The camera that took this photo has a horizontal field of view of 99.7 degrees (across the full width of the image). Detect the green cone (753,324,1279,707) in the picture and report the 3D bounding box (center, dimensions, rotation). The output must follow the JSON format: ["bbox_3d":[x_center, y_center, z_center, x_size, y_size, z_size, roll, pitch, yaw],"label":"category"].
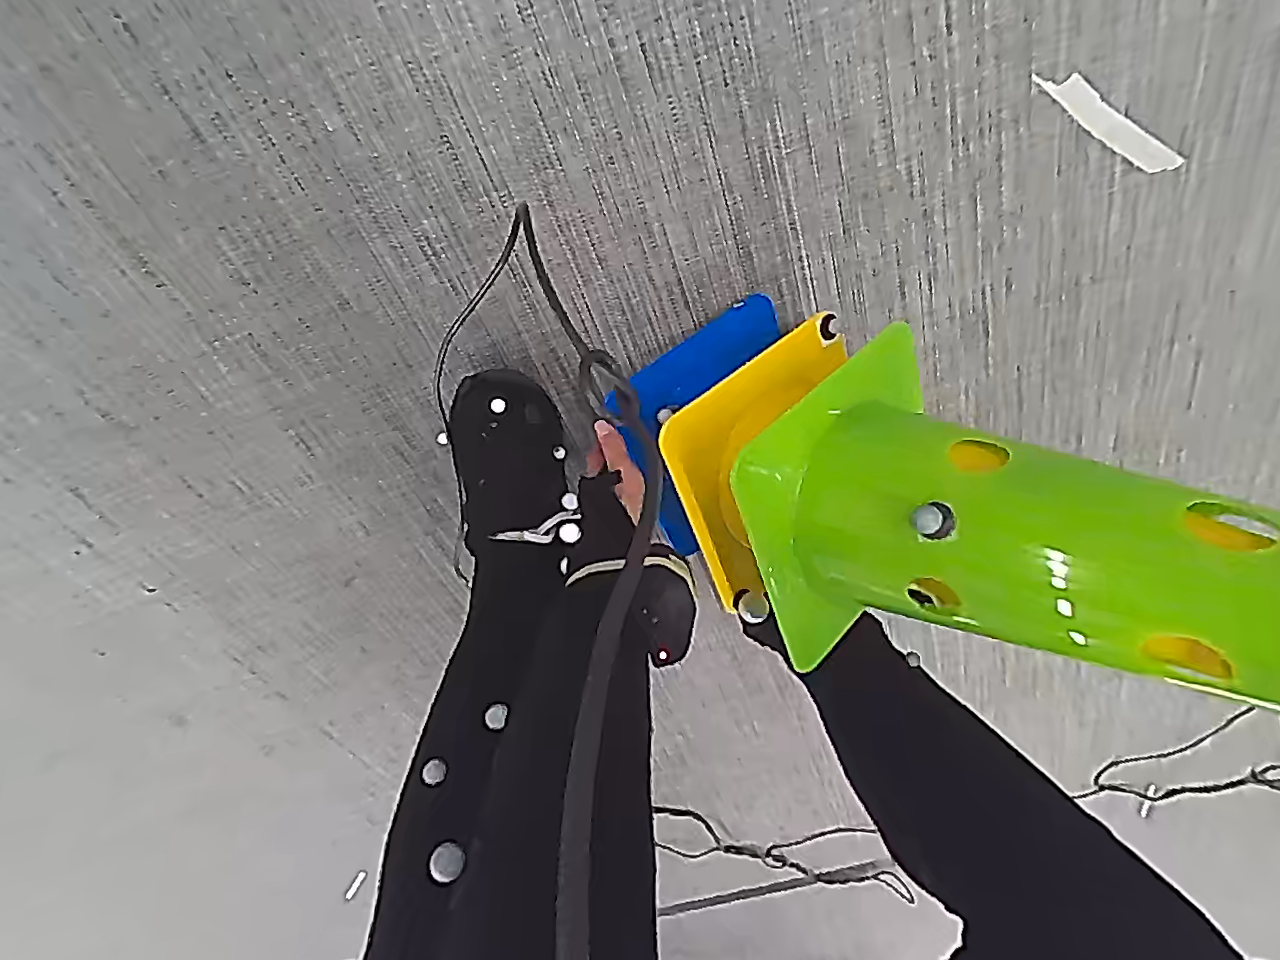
[{"bbox_3d":[0.265,0.050,0.251,0.202,0.368,0.200,-38,121,-23],"label":"green cone"}]
